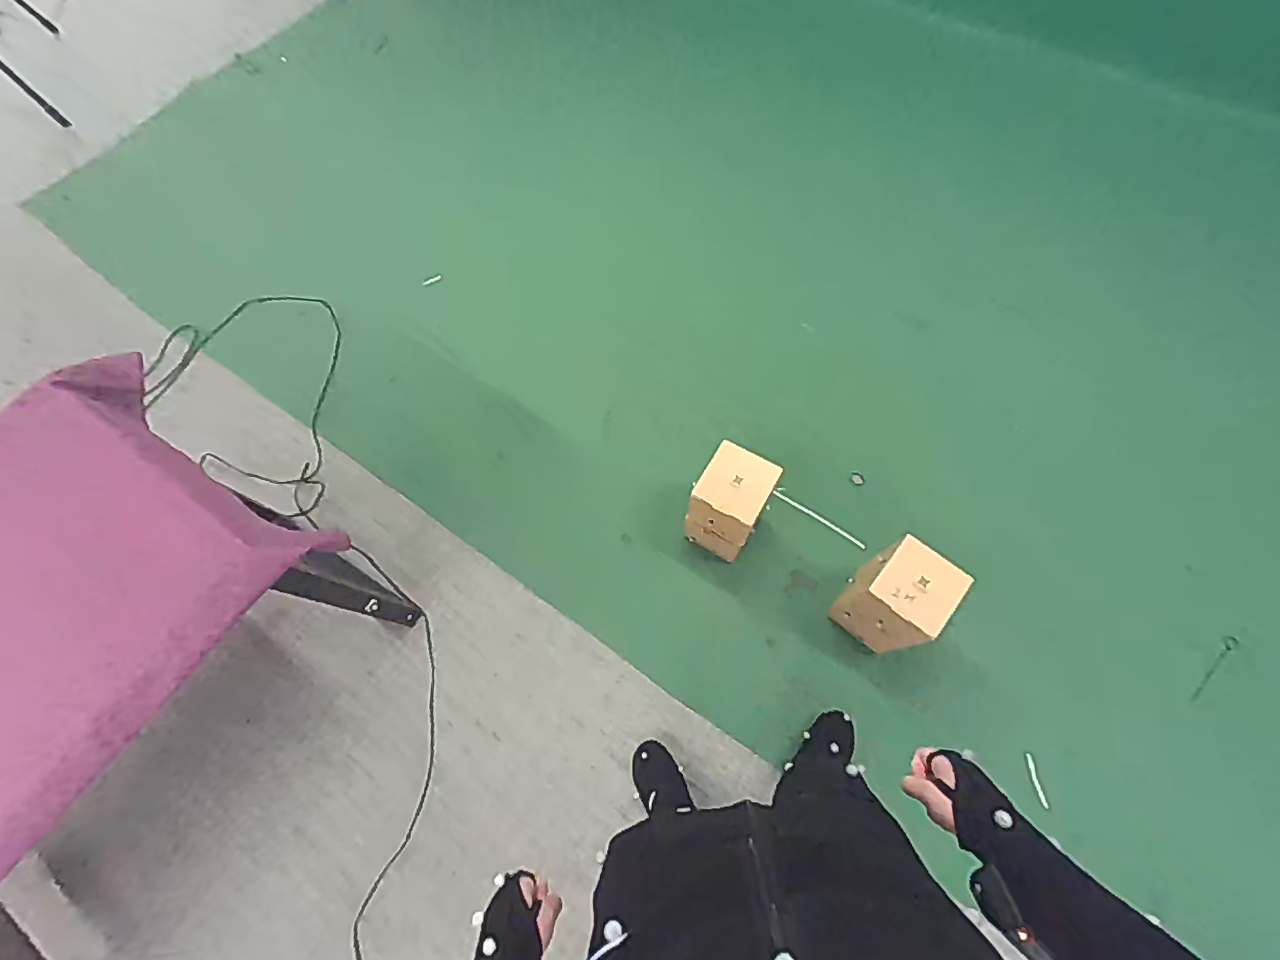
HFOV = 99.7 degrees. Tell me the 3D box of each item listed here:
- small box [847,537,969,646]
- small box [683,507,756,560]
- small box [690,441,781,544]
[{"bbox_3d":[0.618,0.267,1.272,0.168,0.176,0.179,39,74,16],"label":"small box"},{"bbox_3d":[0.235,0.104,1.534,0.168,0.176,0.179,30,71,14],"label":"small box"},{"bbox_3d":[0.235,0.037,1.385,0.168,0.176,0.179,29,72,13],"label":"small box"}]
